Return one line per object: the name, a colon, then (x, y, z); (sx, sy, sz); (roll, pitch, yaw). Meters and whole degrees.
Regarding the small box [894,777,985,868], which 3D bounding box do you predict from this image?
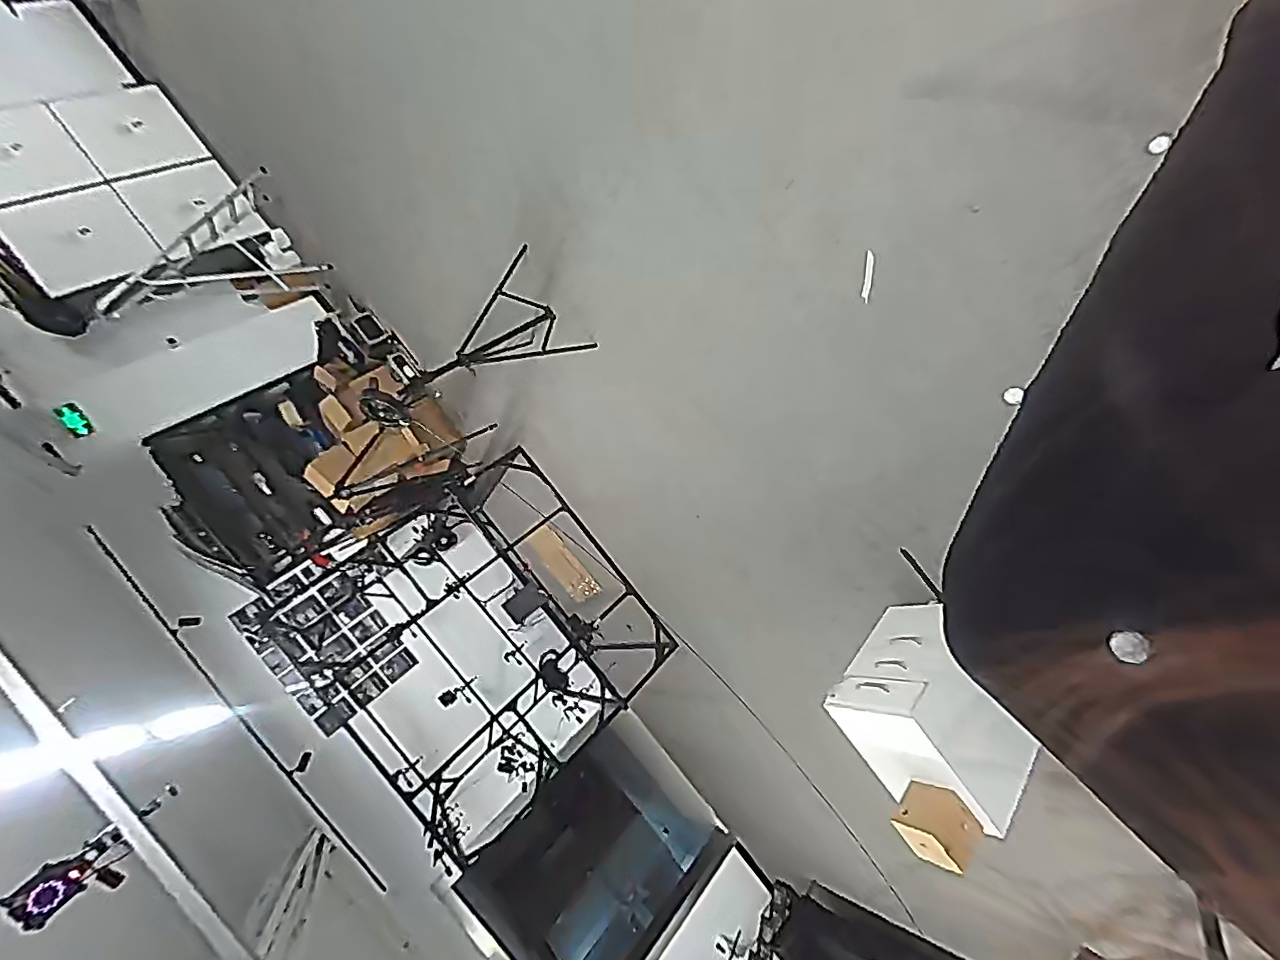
small box: (0.999, 1.129, 1.800); (0.168, 0.176, 0.179); (52, 152, -2)
